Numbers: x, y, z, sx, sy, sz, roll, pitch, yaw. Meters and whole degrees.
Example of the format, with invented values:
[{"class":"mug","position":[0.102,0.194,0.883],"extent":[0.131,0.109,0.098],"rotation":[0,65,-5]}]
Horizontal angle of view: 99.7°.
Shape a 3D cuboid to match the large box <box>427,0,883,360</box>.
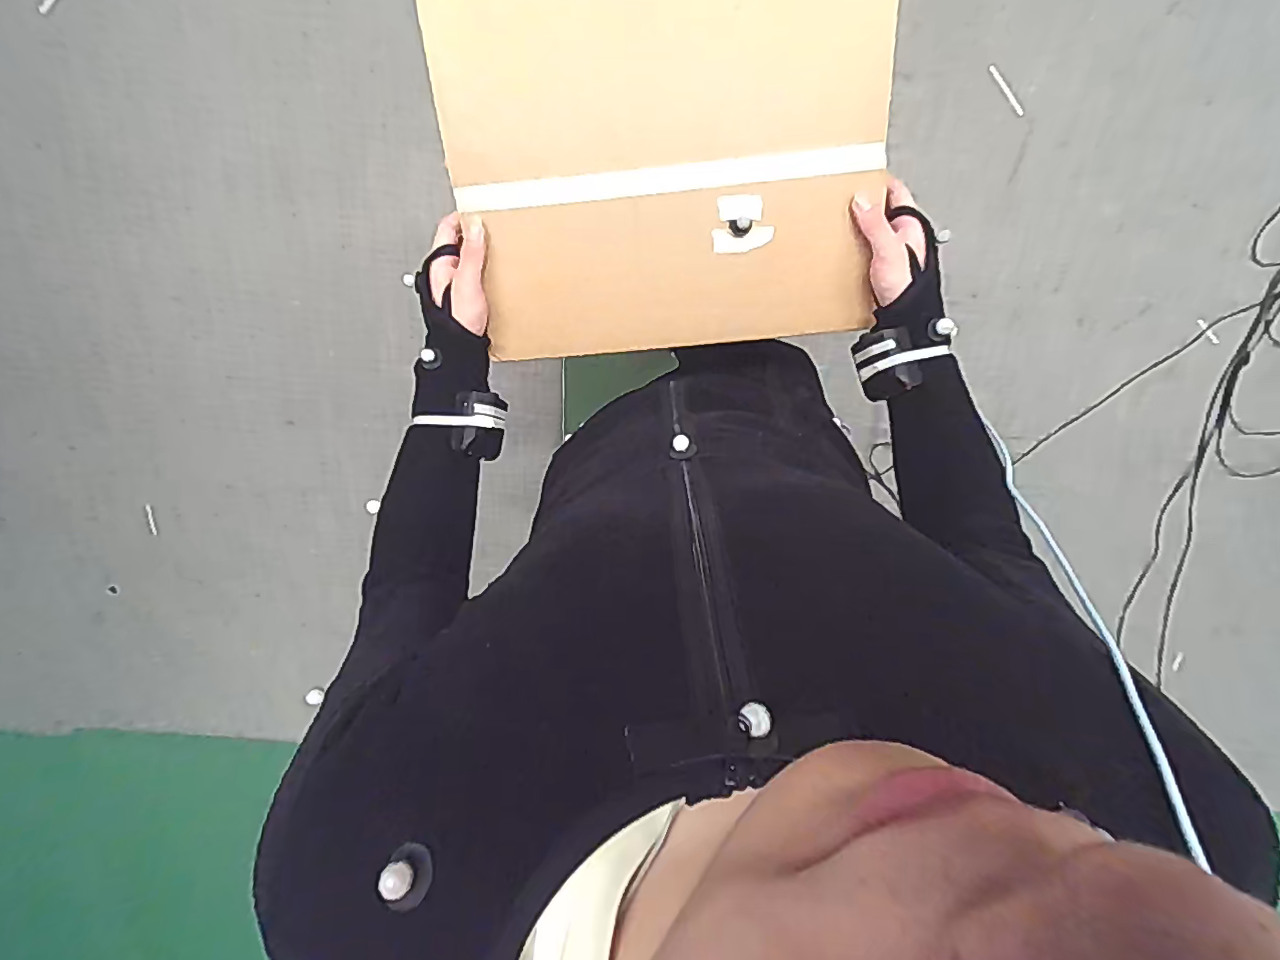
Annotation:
[{"class":"large box","position":[0.022,-0.347,0.657],"extent":[0.408,0.320,0.320],"rotation":[-5,114,1]}]
